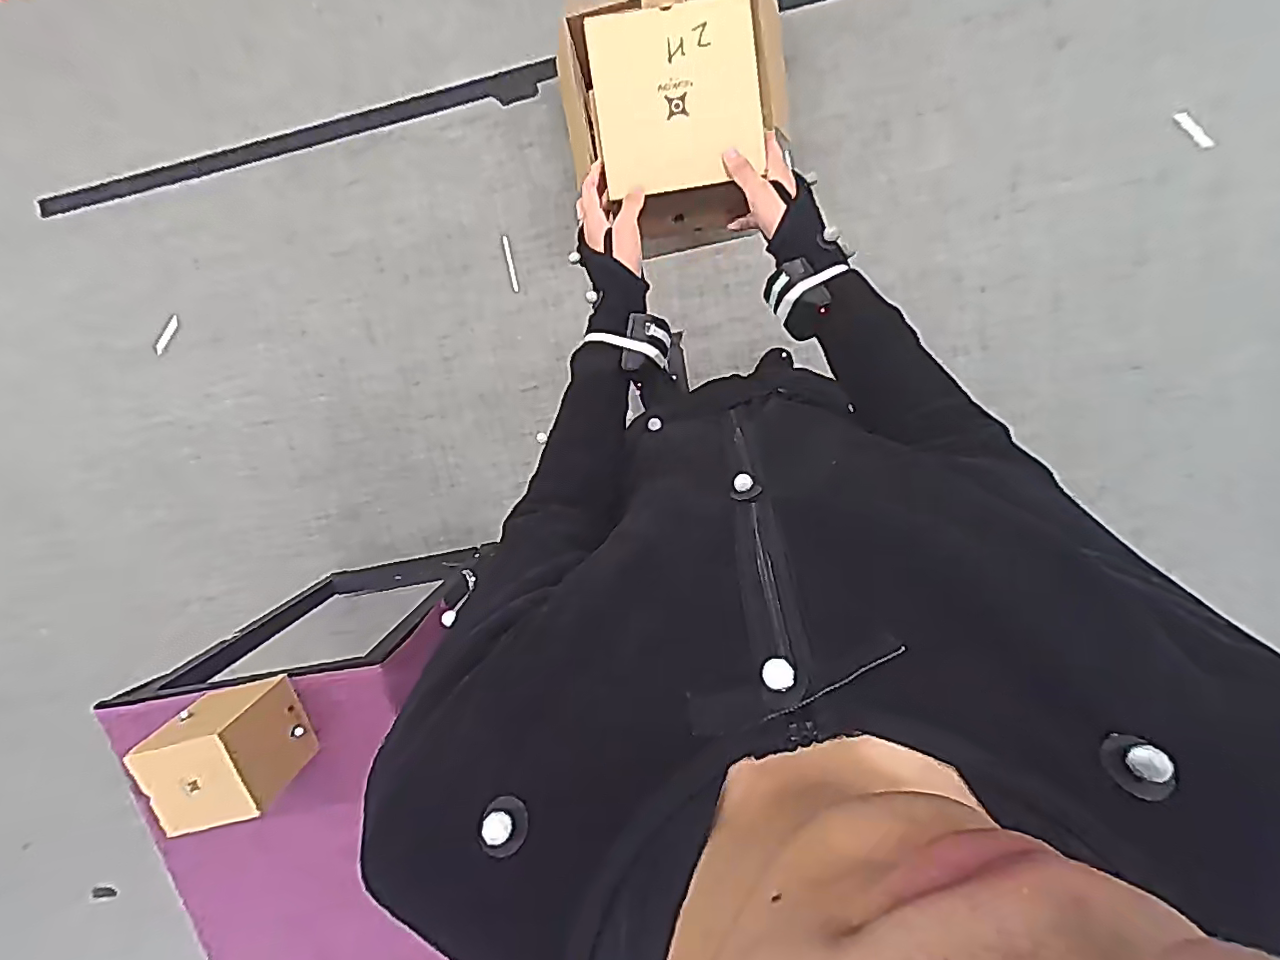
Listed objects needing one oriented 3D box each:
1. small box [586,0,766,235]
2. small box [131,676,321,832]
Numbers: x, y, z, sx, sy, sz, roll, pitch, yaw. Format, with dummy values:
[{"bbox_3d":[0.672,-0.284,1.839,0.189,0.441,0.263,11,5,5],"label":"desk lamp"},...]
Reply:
[{"bbox_3d":[0.039,-0.395,0.617,0.168,0.176,0.179,-8,98,2],"label":"small box"},{"bbox_3d":[-0.722,0.479,0.964,0.179,0.176,0.168,-15,103,7],"label":"small box"}]
